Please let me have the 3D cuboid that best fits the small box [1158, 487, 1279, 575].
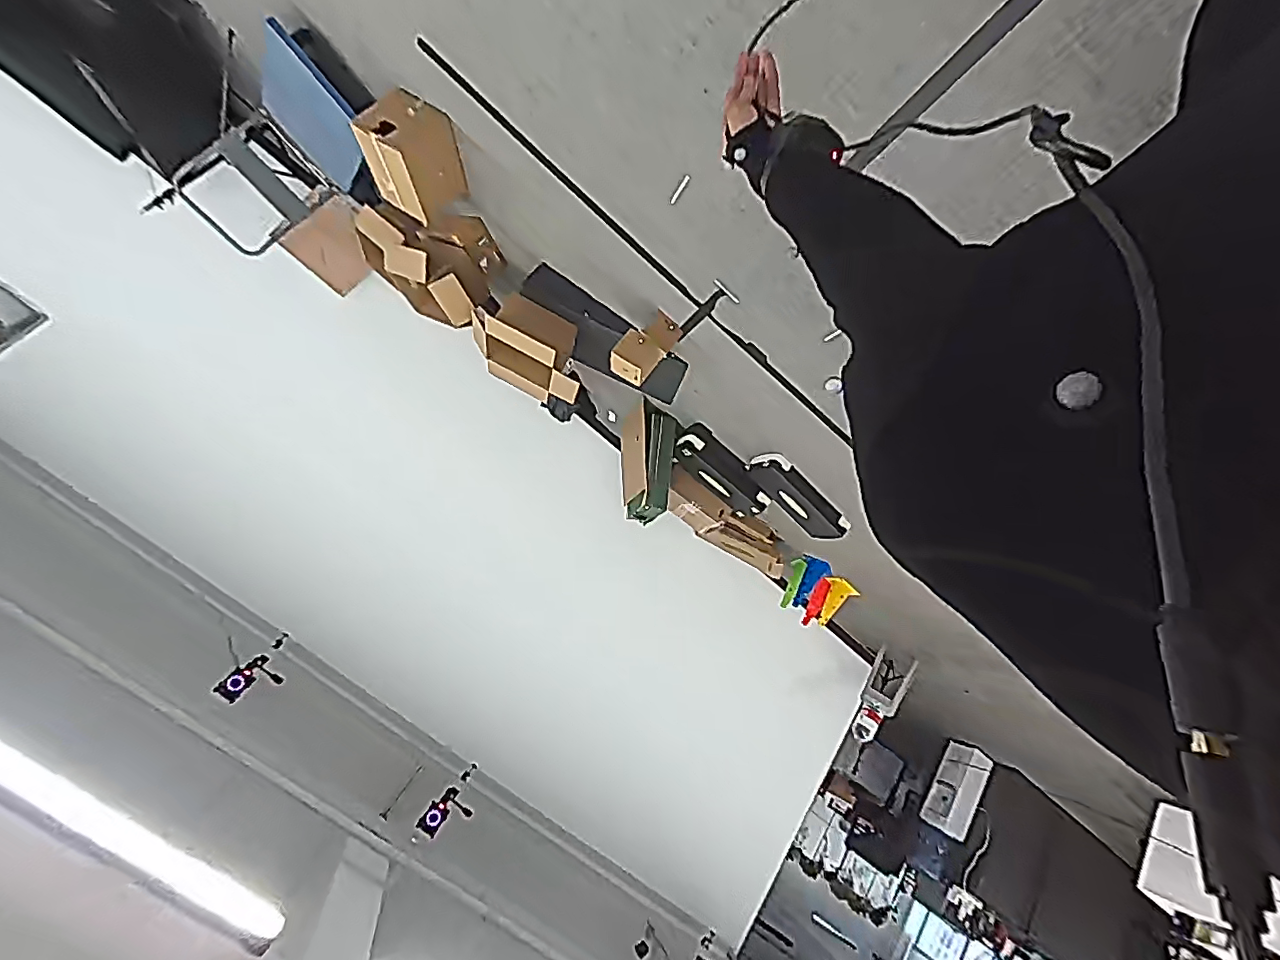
[{"bbox_3d":[0.980,0.124,0.851,0.179,0.176,0.168,40,161,-10],"label":"small box"}]
